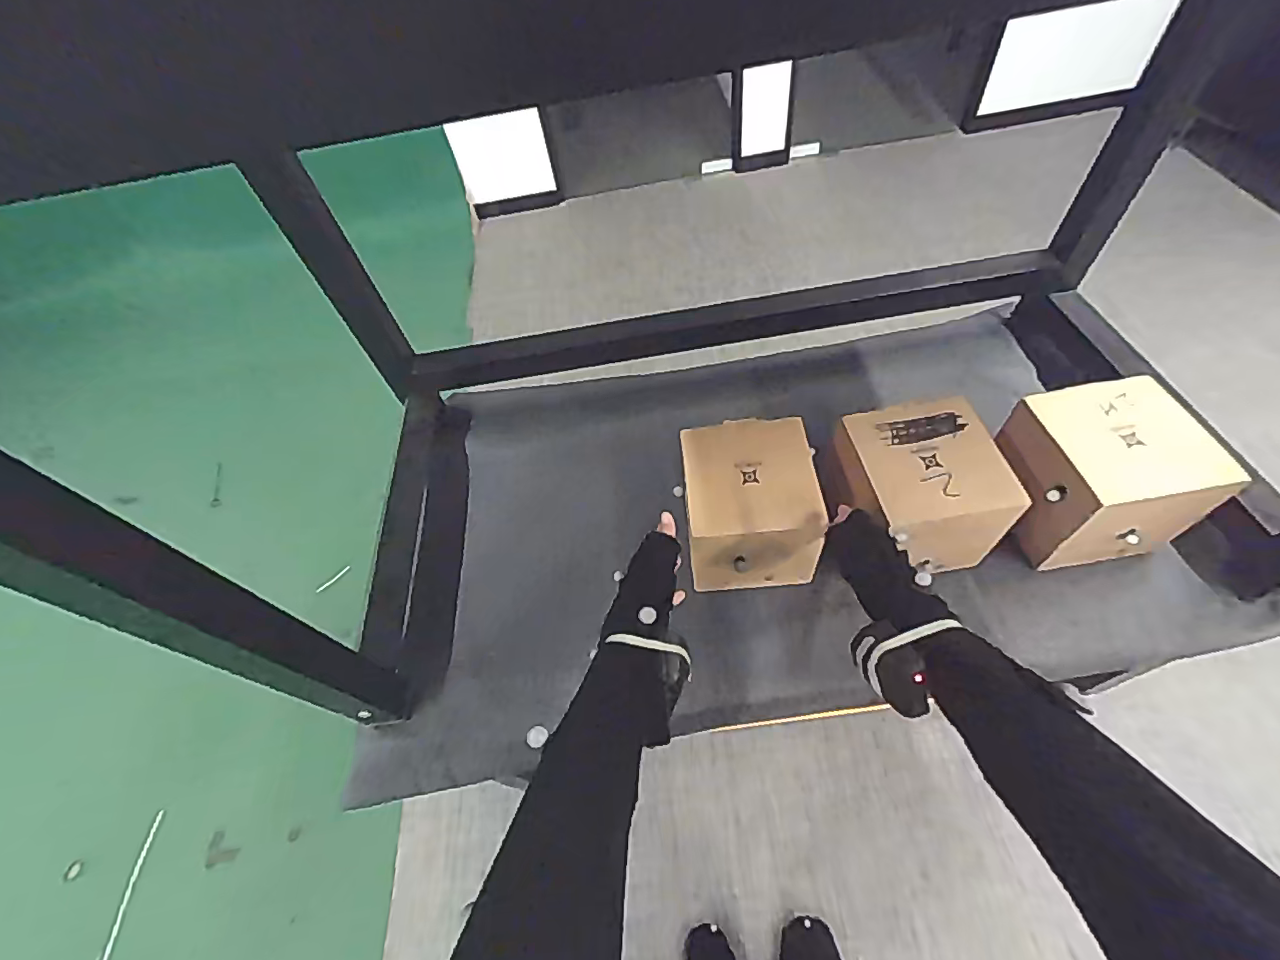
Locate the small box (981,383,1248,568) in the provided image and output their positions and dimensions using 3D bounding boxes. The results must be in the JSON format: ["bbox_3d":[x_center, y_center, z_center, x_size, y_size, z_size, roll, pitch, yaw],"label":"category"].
[{"bbox_3d":[0.599,0.003,0.716,0.168,0.176,0.179,-10,53,1],"label":"small box"}]

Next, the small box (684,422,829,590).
[{"bbox_3d":[0.154,0.045,0.758,0.168,0.176,0.179,-5,54,5],"label":"small box"}]
